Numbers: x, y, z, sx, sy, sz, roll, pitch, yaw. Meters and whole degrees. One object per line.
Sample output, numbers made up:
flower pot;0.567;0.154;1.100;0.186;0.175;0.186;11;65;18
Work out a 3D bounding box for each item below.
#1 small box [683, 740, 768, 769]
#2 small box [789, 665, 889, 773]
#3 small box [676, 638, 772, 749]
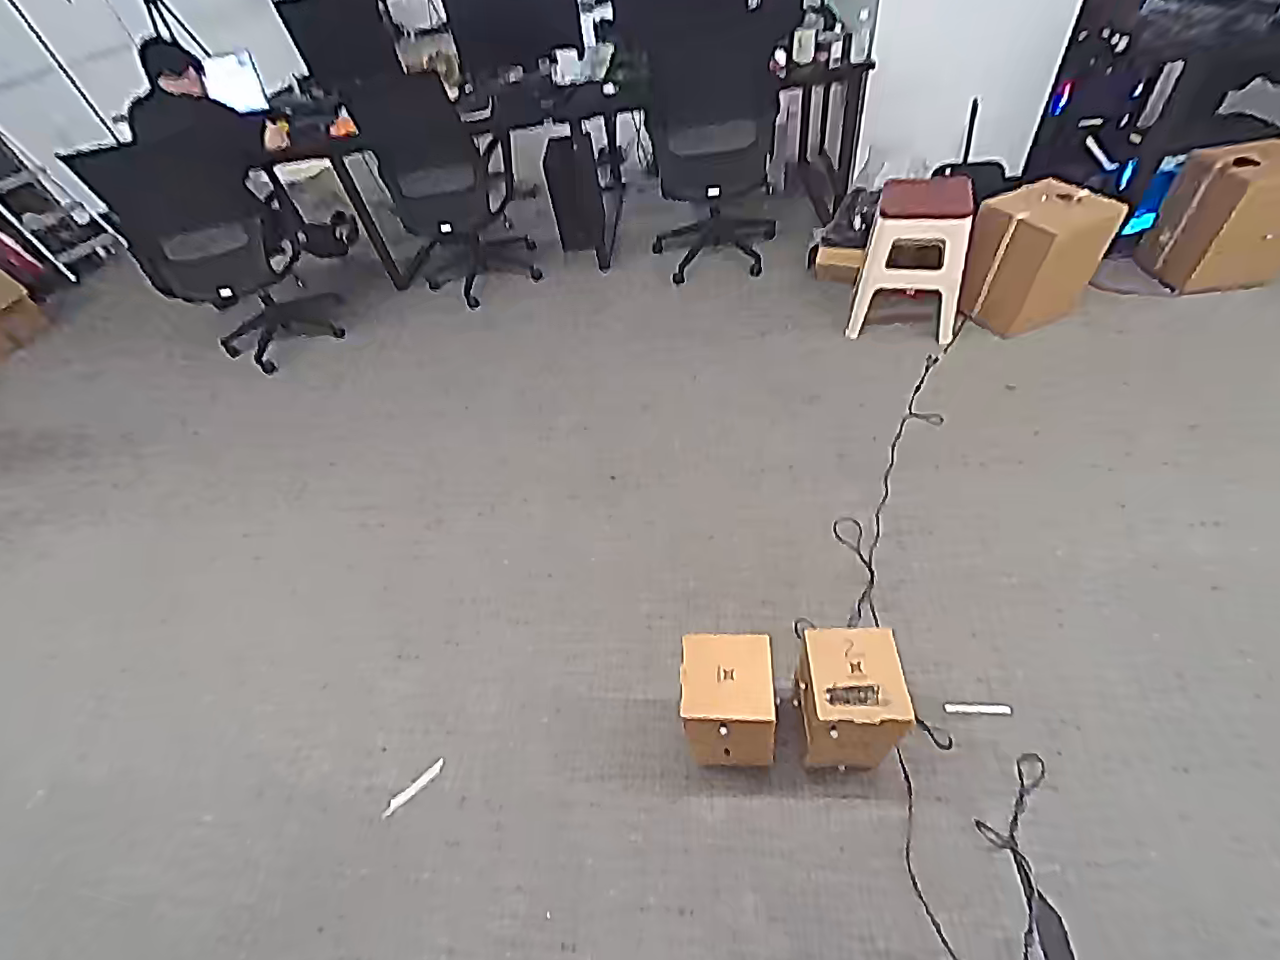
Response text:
small box;0.195;0.540;1.216;0.179;0.176;0.168;-3;49;9
small box;0.424;0.524;1.186;0.168;0.176;0.179;-3;49;8
small box;0.172;0.434;1.096;0.179;0.176;0.168;-3;48;10
